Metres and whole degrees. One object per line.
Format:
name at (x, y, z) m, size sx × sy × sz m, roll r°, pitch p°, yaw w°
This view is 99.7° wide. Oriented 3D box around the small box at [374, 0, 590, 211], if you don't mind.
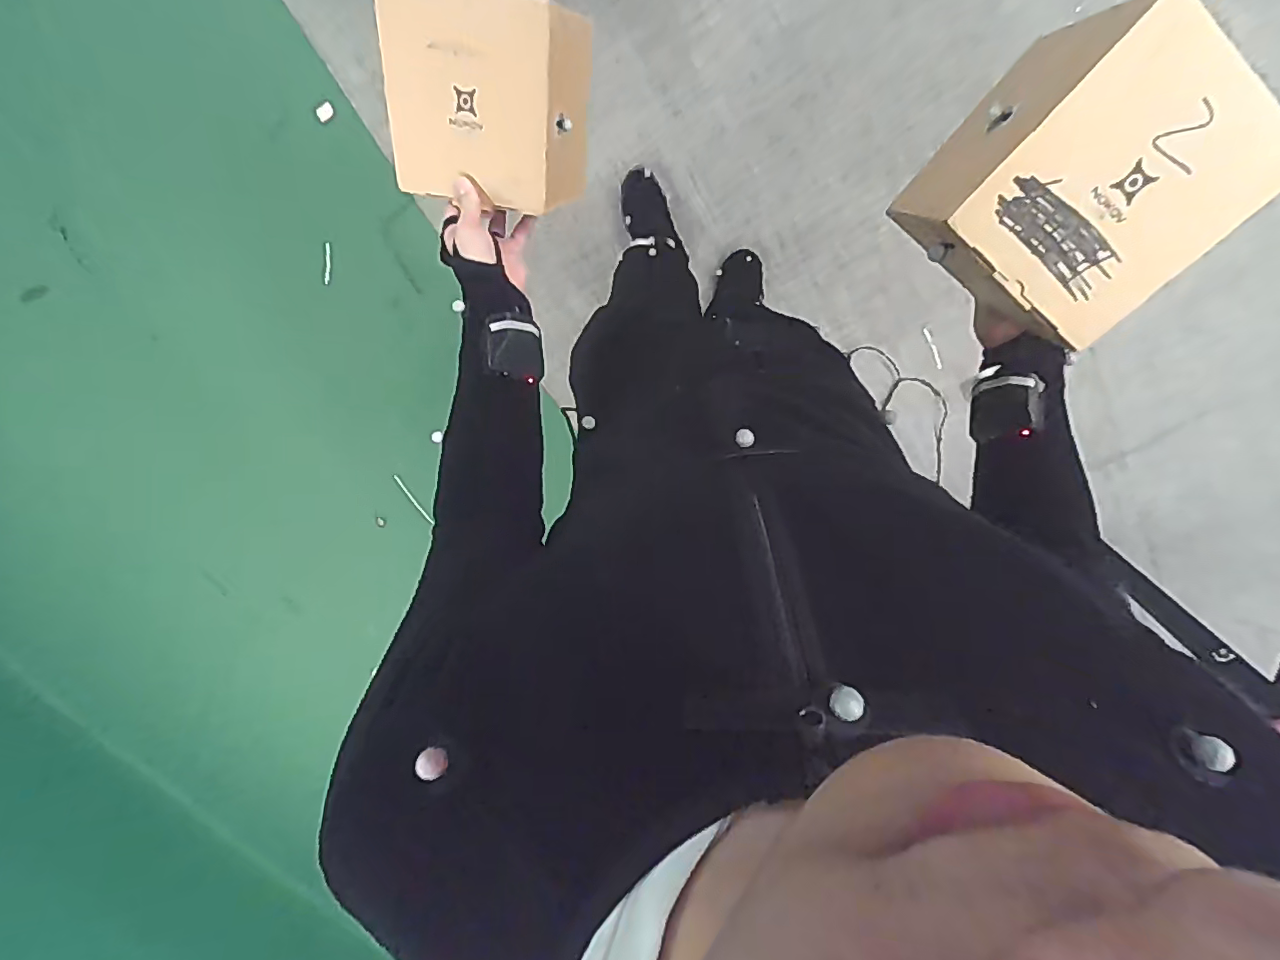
small box at (-0.156, -0.415, 0.586) m, size 0.168 × 0.176 × 0.179 m, roll 12°, pitch 126°, yaw 3°
